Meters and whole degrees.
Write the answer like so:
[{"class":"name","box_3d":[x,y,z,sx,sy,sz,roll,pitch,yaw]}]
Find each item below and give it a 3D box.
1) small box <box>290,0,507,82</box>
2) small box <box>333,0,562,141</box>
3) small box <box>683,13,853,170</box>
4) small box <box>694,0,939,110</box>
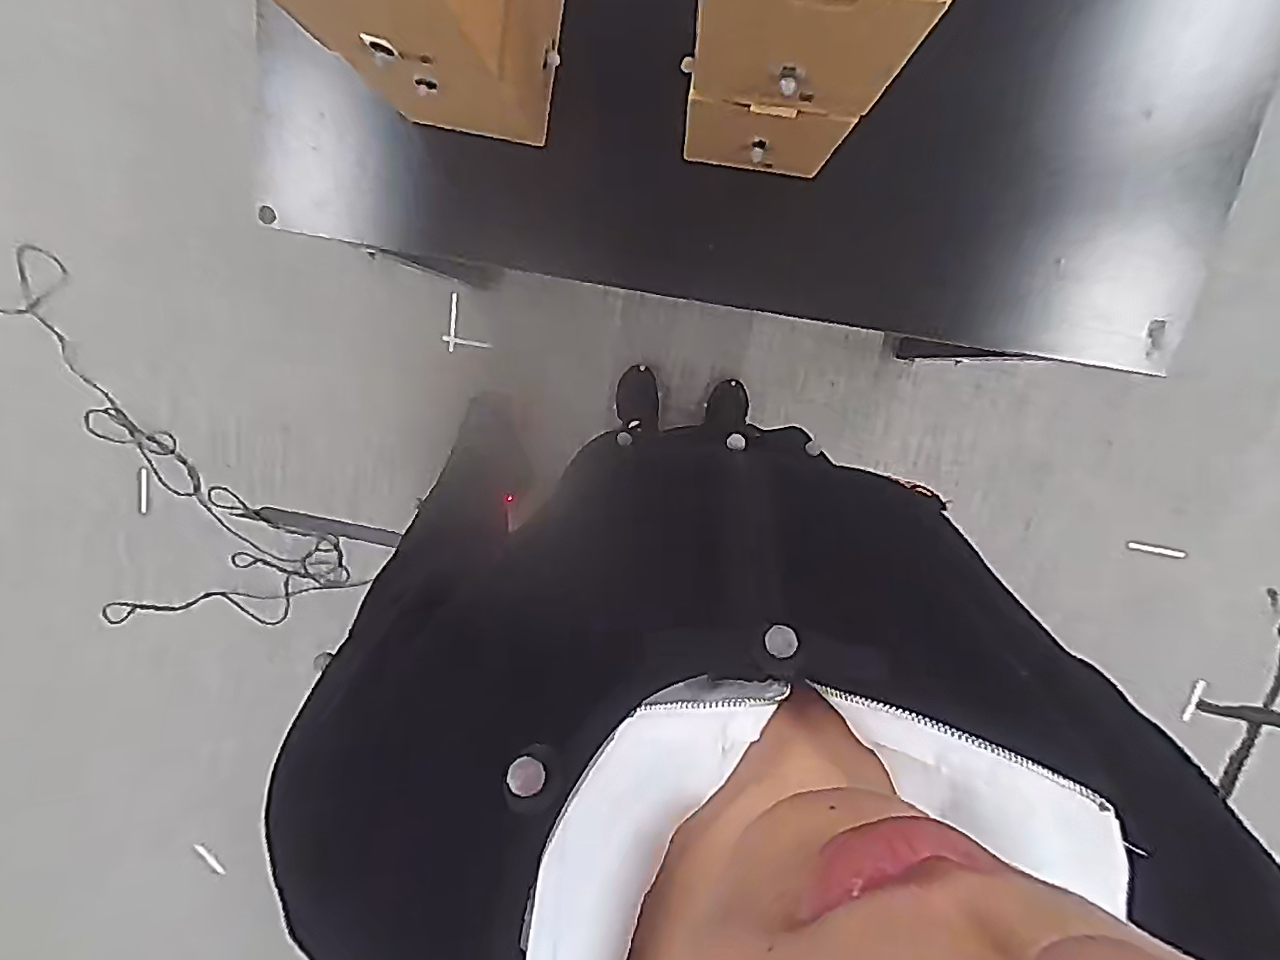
[{"class":"small box","box_3d":[-0.206,-0.463,0.427,0.168,0.176,0.179,10,103,2]},{"class":"small box","box_3d":[-0.195,-0.498,0.585,0.179,0.176,0.168,11,103,0]},{"class":"small box","box_3d":[0.140,-0.457,0.578,0.168,0.176,0.179,9,102,1]},{"class":"small box","box_3d":[0.136,-0.427,0.414,0.168,0.176,0.179,9,102,2]}]
